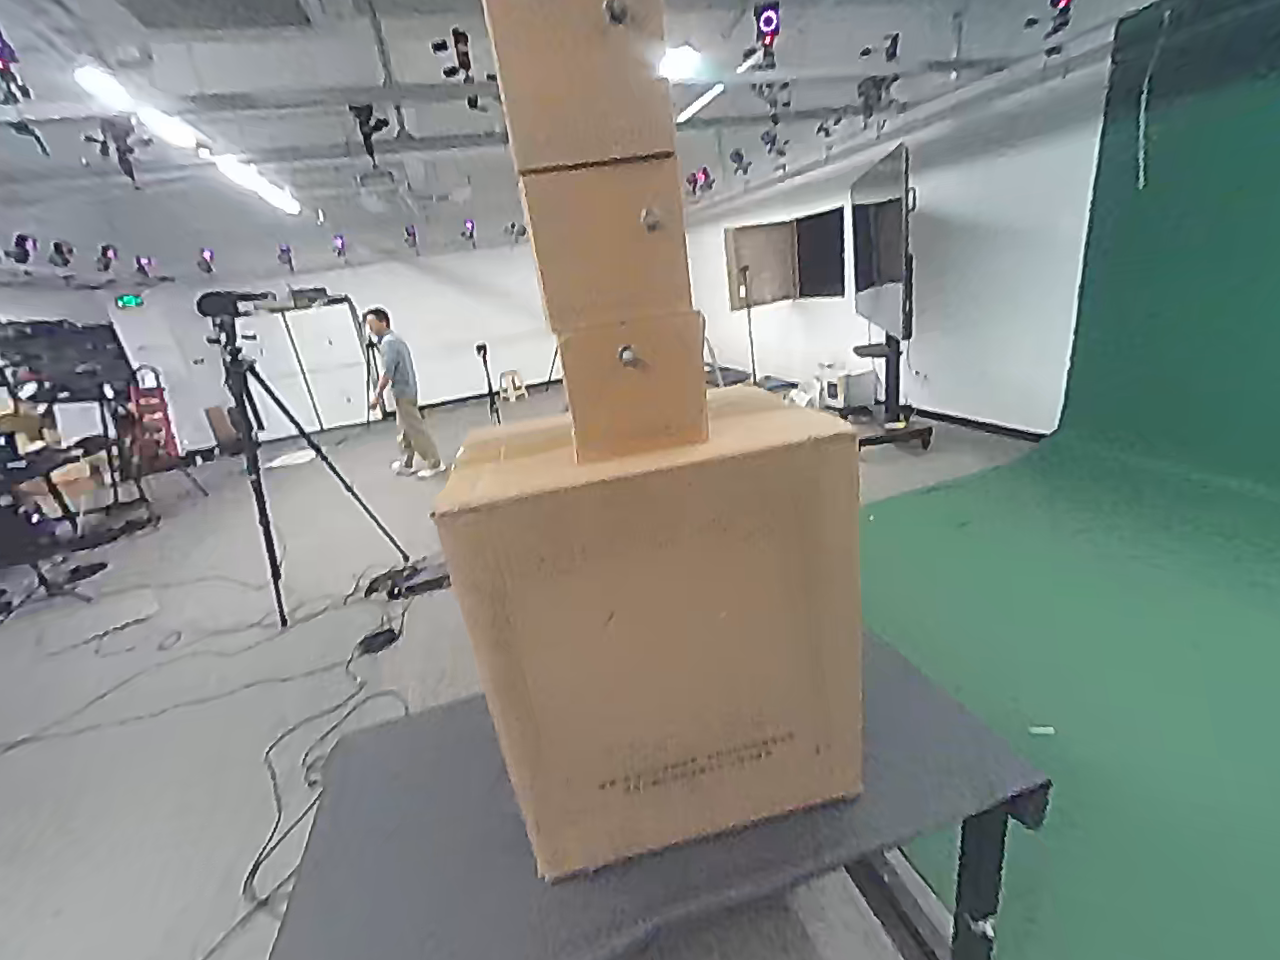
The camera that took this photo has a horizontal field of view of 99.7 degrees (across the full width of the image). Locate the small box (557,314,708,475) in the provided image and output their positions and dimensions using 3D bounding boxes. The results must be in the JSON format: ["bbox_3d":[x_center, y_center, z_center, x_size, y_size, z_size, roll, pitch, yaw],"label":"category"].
[{"bbox_3d":[-0.011,-0.121,0.736,0.179,0.176,0.168,-11,22,-6],"label":"small box"}]

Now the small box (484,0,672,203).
[{"bbox_3d":[-0.063,-0.423,0.618,0.179,0.176,0.168,-10,21,-5],"label":"small box"}]
